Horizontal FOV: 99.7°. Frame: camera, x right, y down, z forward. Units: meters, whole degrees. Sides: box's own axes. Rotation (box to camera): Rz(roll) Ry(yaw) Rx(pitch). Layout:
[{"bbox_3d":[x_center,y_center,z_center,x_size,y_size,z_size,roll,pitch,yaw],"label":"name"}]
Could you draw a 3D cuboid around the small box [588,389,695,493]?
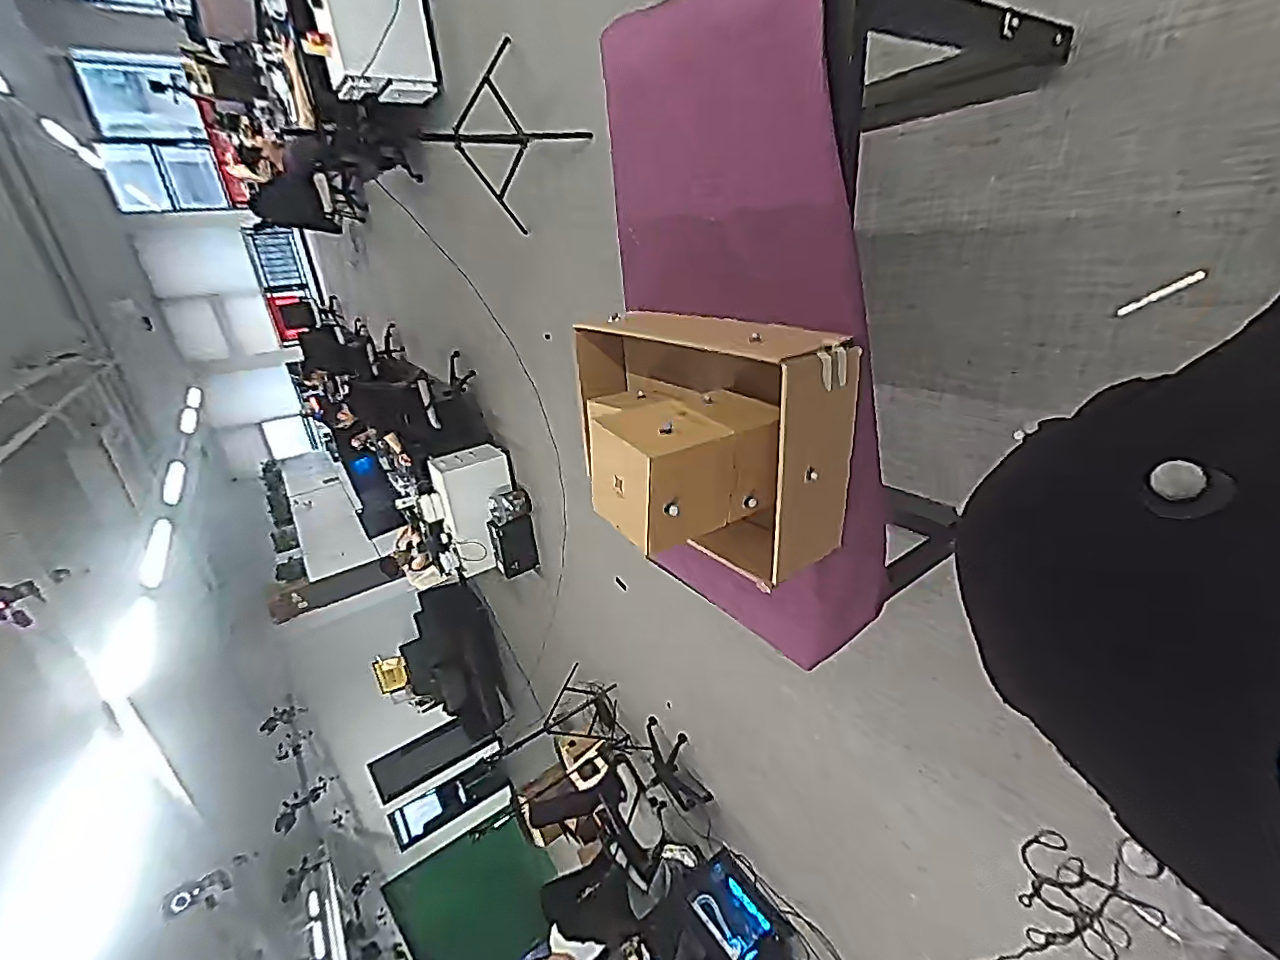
[{"bbox_3d":[0.007,-0.095,1.189,0.168,0.176,0.179,23,125,50],"label":"small box"}]
